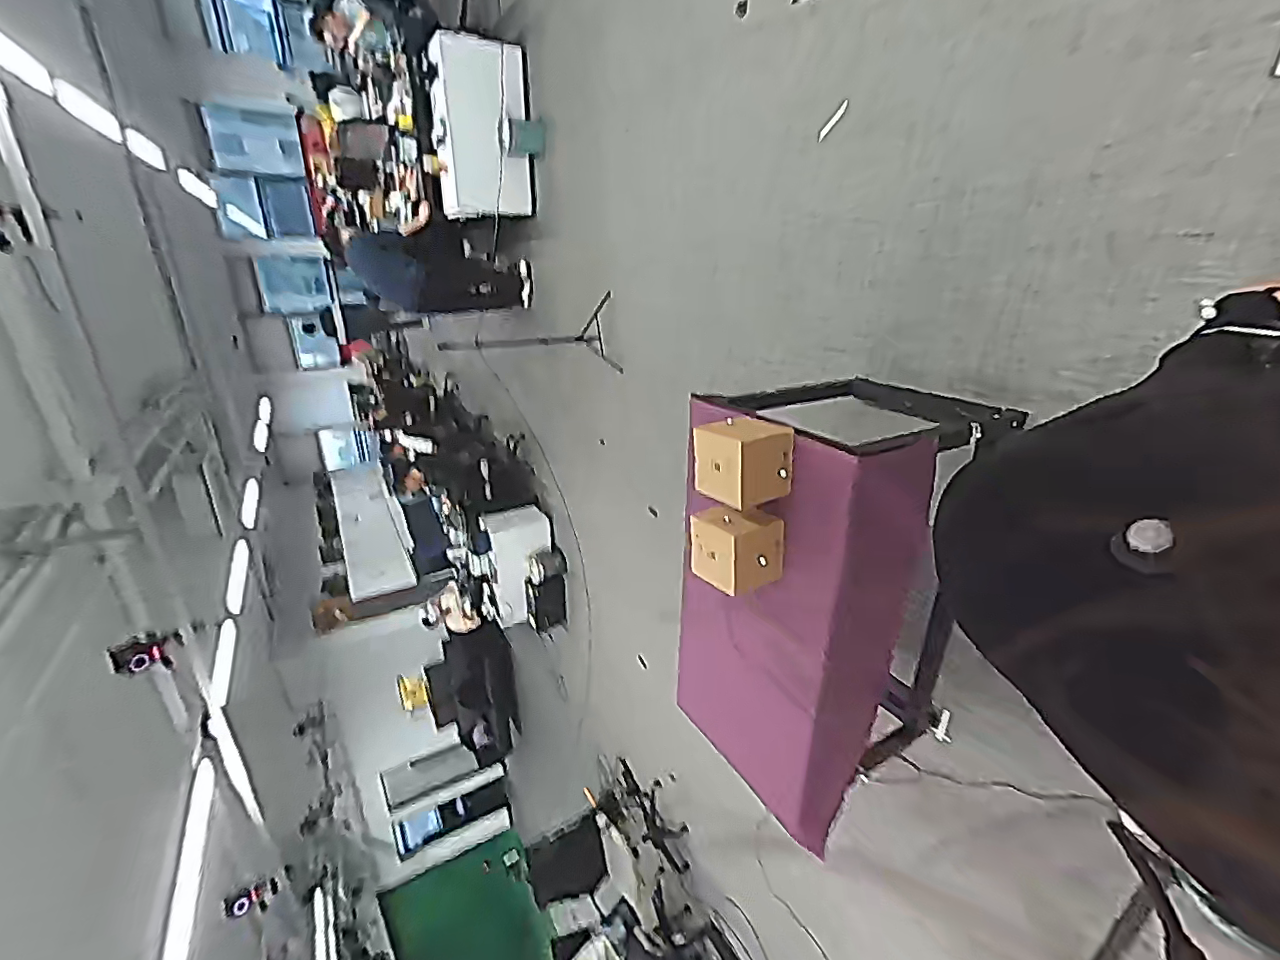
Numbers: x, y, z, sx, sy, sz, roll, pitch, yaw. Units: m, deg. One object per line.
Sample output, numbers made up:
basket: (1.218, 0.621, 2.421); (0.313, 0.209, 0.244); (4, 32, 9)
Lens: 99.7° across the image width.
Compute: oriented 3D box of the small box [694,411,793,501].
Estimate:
small box: (0.249, -0.067, 1.328); (0.179, 0.176, 0.168); (28, 128, 55)

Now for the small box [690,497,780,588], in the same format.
small box: (0.250, 0.154, 1.420); (0.179, 0.176, 0.168); (26, 124, 56)
